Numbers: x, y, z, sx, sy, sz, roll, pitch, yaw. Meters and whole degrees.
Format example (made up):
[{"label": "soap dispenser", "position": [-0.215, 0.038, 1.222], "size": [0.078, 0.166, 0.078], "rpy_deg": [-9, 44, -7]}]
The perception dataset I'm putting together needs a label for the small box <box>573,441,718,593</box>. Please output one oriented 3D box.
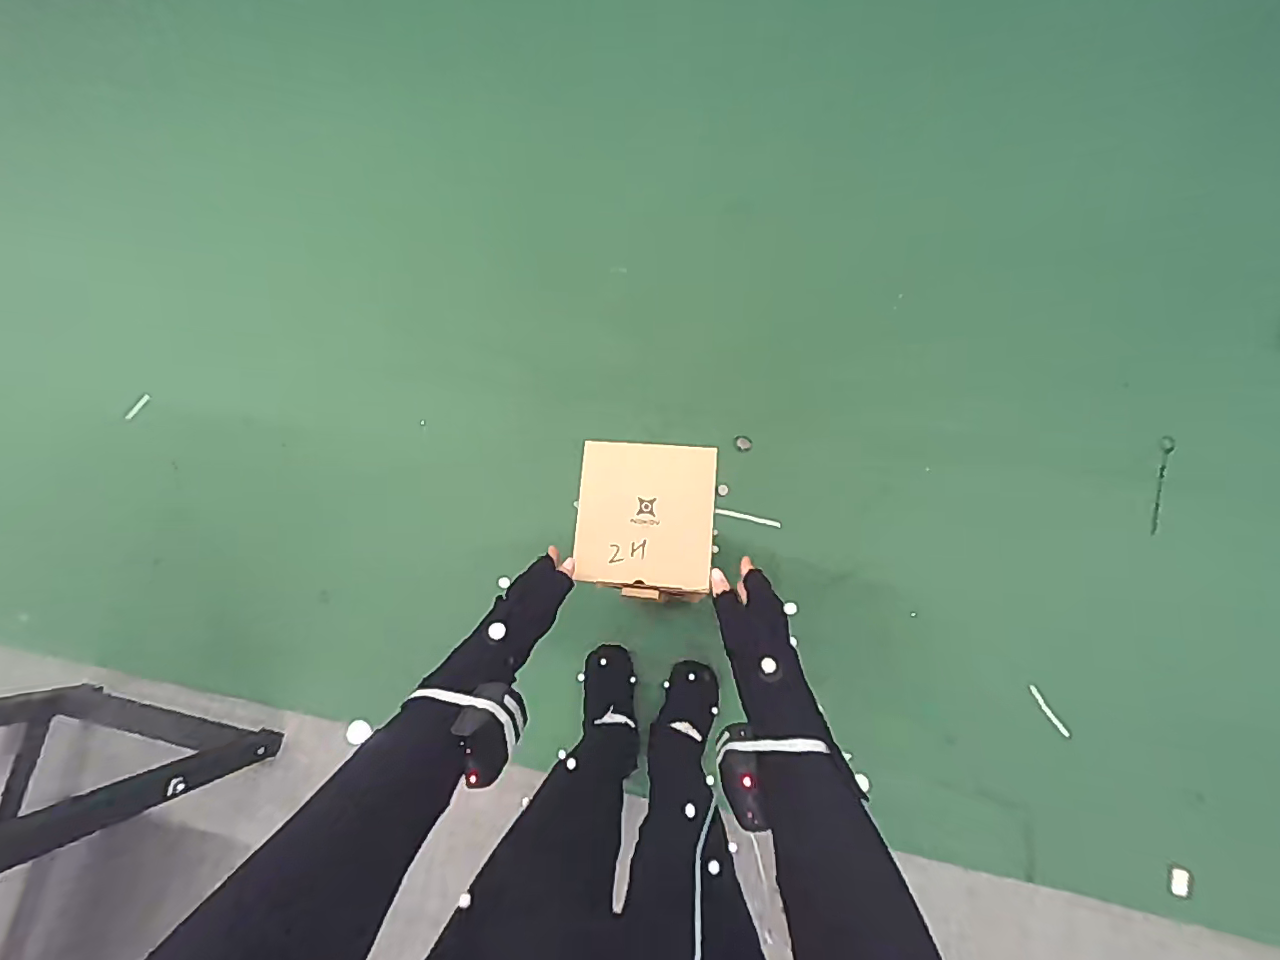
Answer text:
[{"label": "small box", "position": [0.015, 0.057, 0.732], "size": [0.168, 0.176, 0.179], "rpy_deg": [4, 79, 7]}]
